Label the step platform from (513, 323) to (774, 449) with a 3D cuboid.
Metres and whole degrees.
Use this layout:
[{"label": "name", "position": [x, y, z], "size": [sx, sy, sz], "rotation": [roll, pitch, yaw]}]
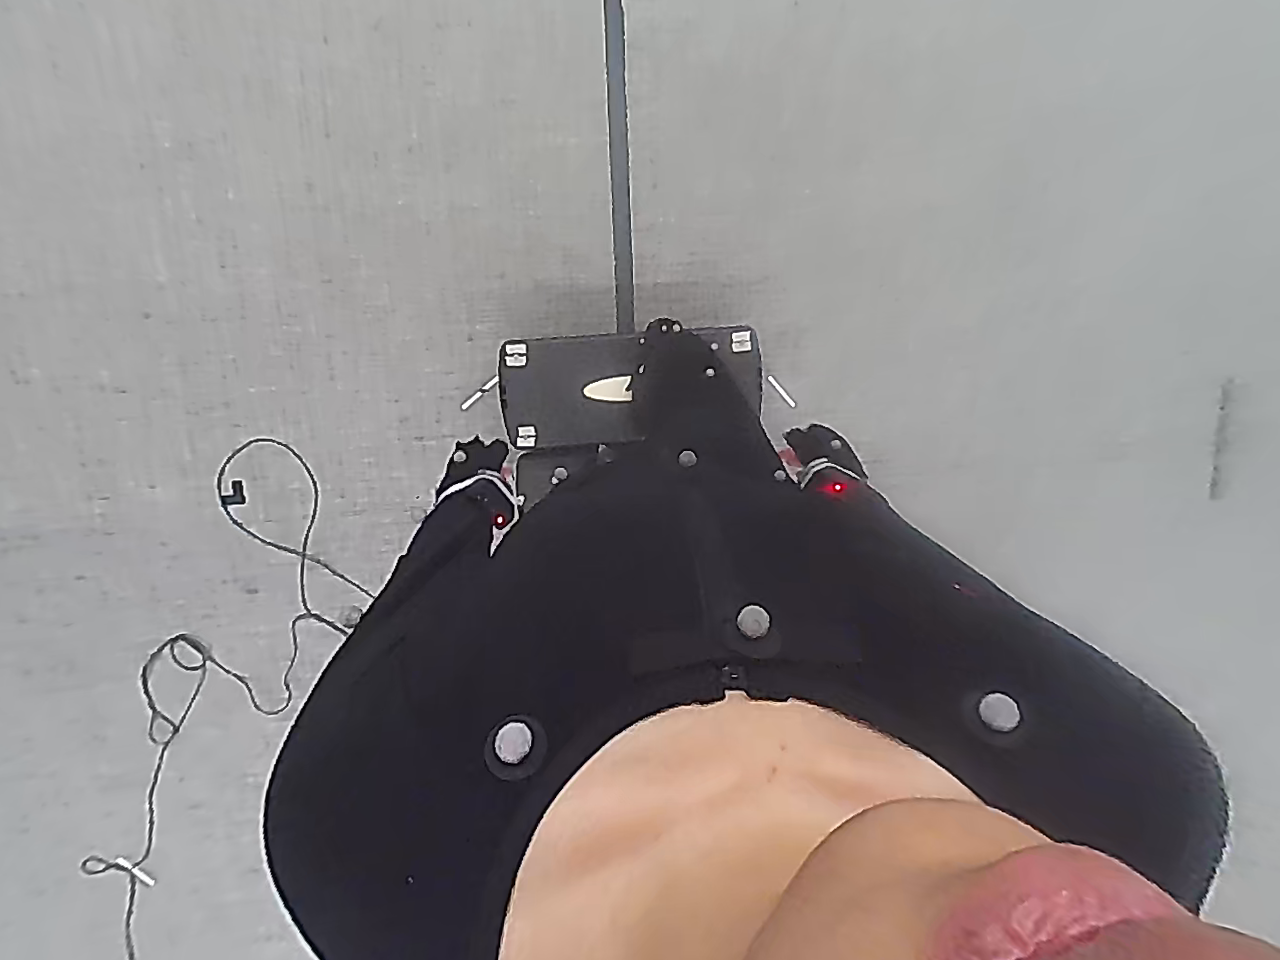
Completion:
[{"label": "step platform", "position": [0.009, -0.251, 1.454], "size": [0.684, 0.204, 0.286], "rotation": [-5, 100, -4]}]
